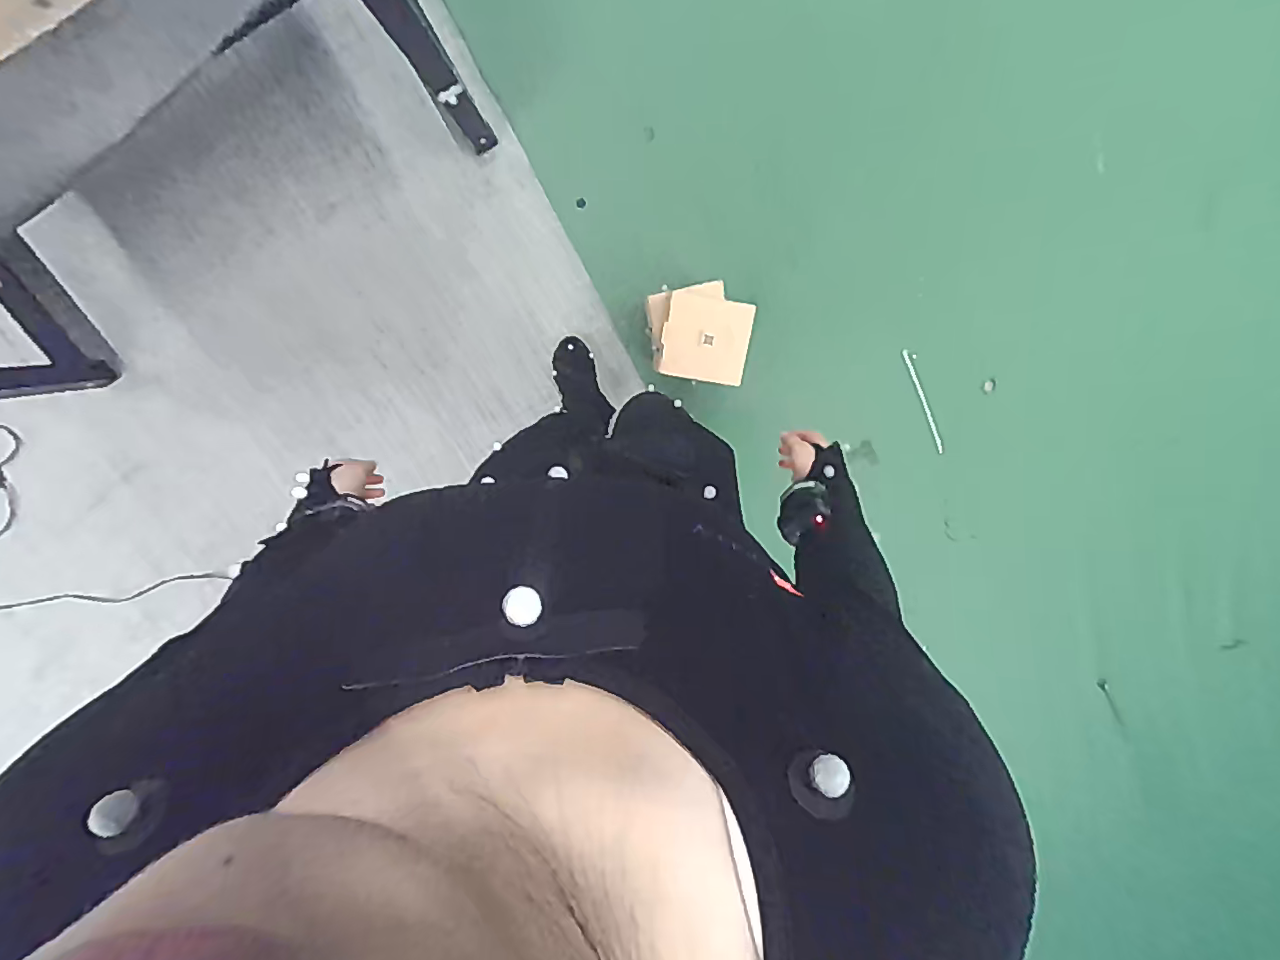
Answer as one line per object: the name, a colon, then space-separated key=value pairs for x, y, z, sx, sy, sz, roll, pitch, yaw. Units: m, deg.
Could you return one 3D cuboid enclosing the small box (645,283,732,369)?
small box: x=0.110 y=-0.370 z=1.313 sx=0.179 sy=0.176 sz=0.168 roll=-13 pitch=106 yaw=0
